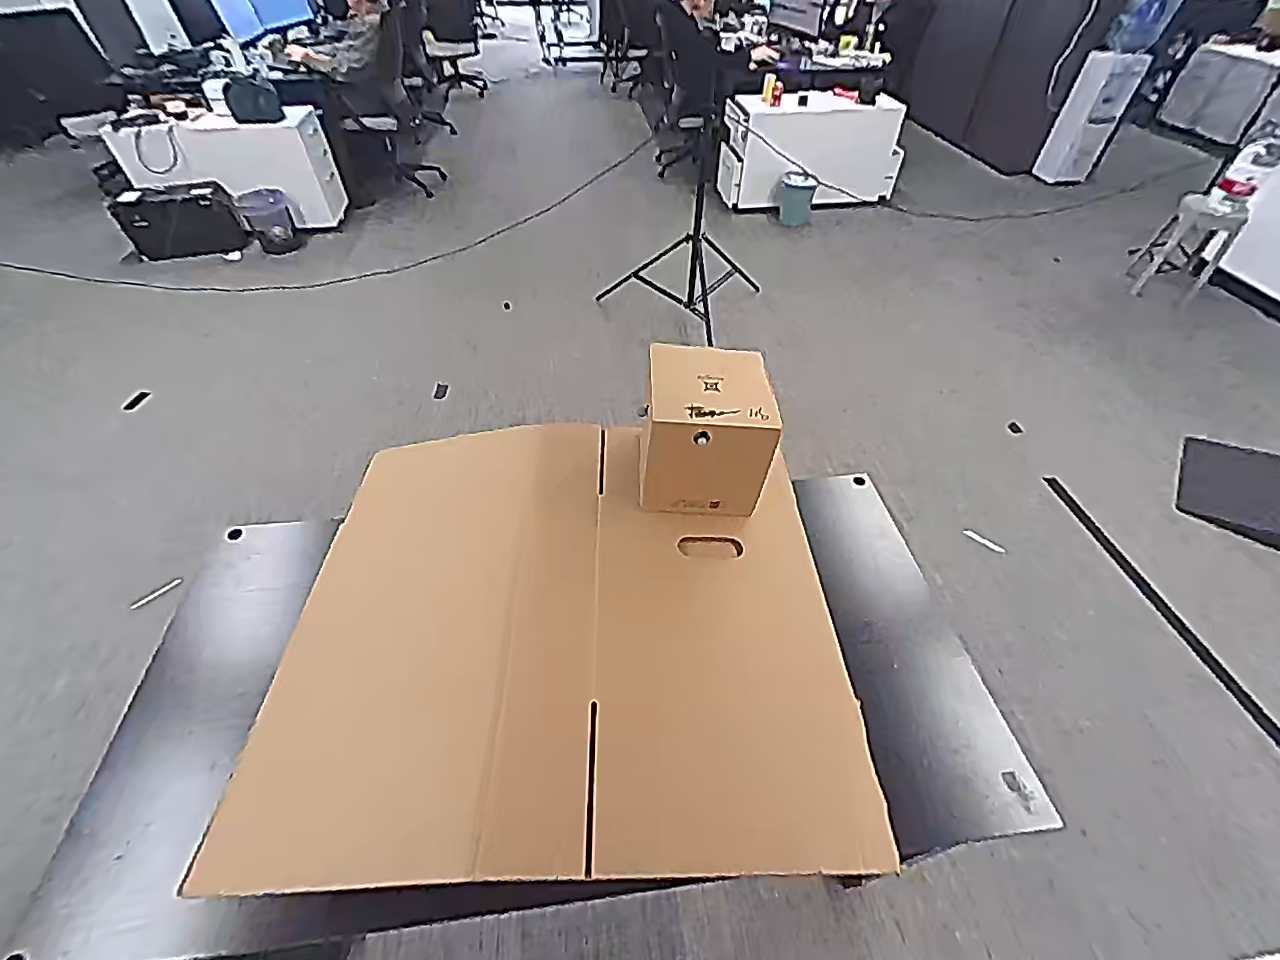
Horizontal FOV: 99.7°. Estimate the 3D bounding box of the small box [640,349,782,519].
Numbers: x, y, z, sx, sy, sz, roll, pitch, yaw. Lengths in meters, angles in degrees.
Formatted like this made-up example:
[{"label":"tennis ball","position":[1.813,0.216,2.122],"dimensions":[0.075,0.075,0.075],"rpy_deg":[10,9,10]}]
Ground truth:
[{"label":"small box","position":[0.088,-0.066,0.779],"dimensions":[0.168,0.176,0.179],"rpy_deg":[3,44,-4]}]
